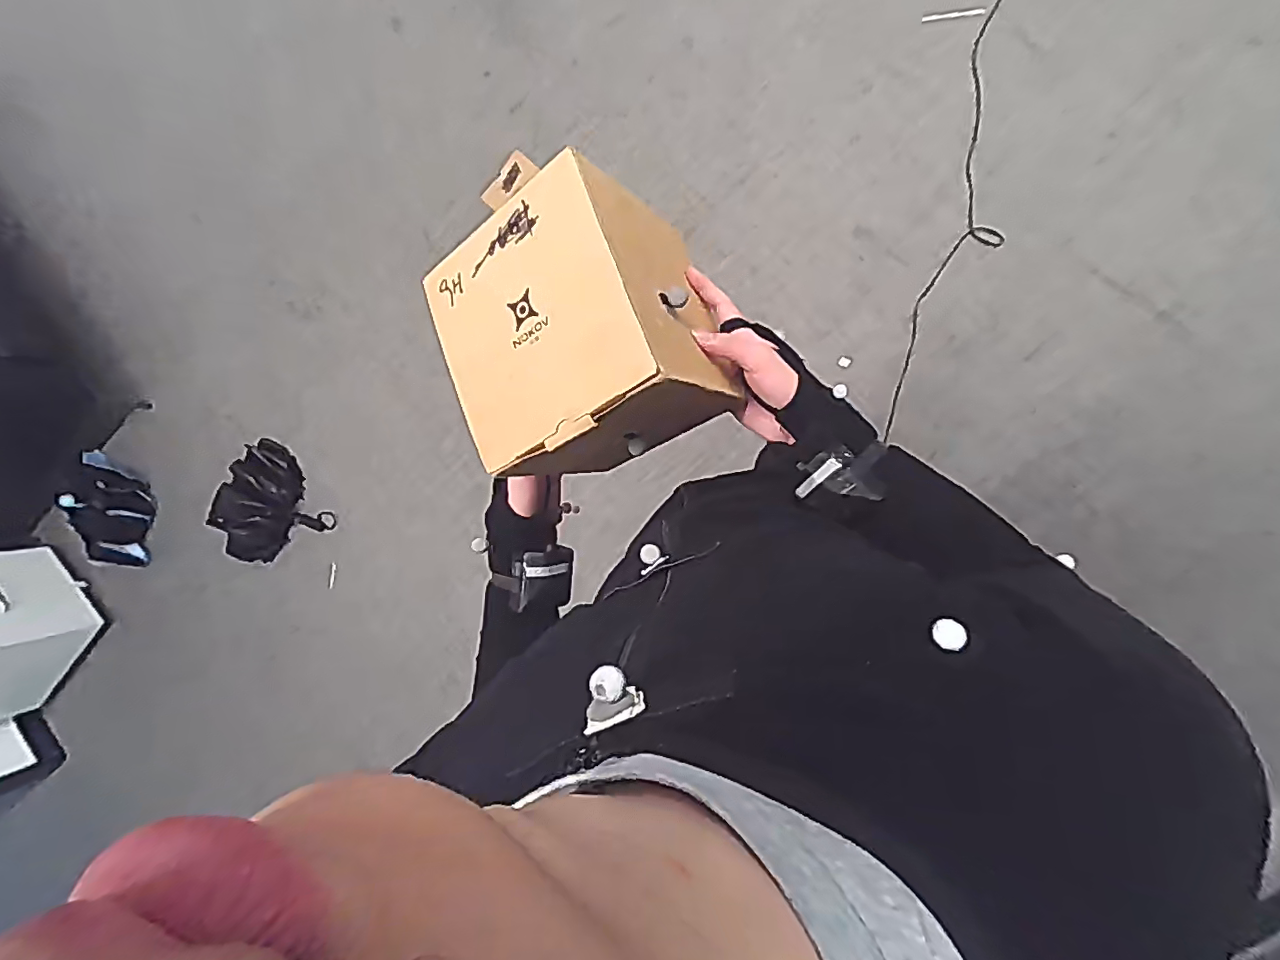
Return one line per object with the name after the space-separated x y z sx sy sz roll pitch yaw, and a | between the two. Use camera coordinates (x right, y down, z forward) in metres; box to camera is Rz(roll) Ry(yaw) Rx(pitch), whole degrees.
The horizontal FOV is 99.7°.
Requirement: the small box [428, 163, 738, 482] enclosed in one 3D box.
-0.039 -0.113 0.461 0.168 0.176 0.179 -27 80 27 | small box

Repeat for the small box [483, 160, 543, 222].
-0.309 -0.767 1.564 0.179 0.176 0.168 43 101 8 | small box
